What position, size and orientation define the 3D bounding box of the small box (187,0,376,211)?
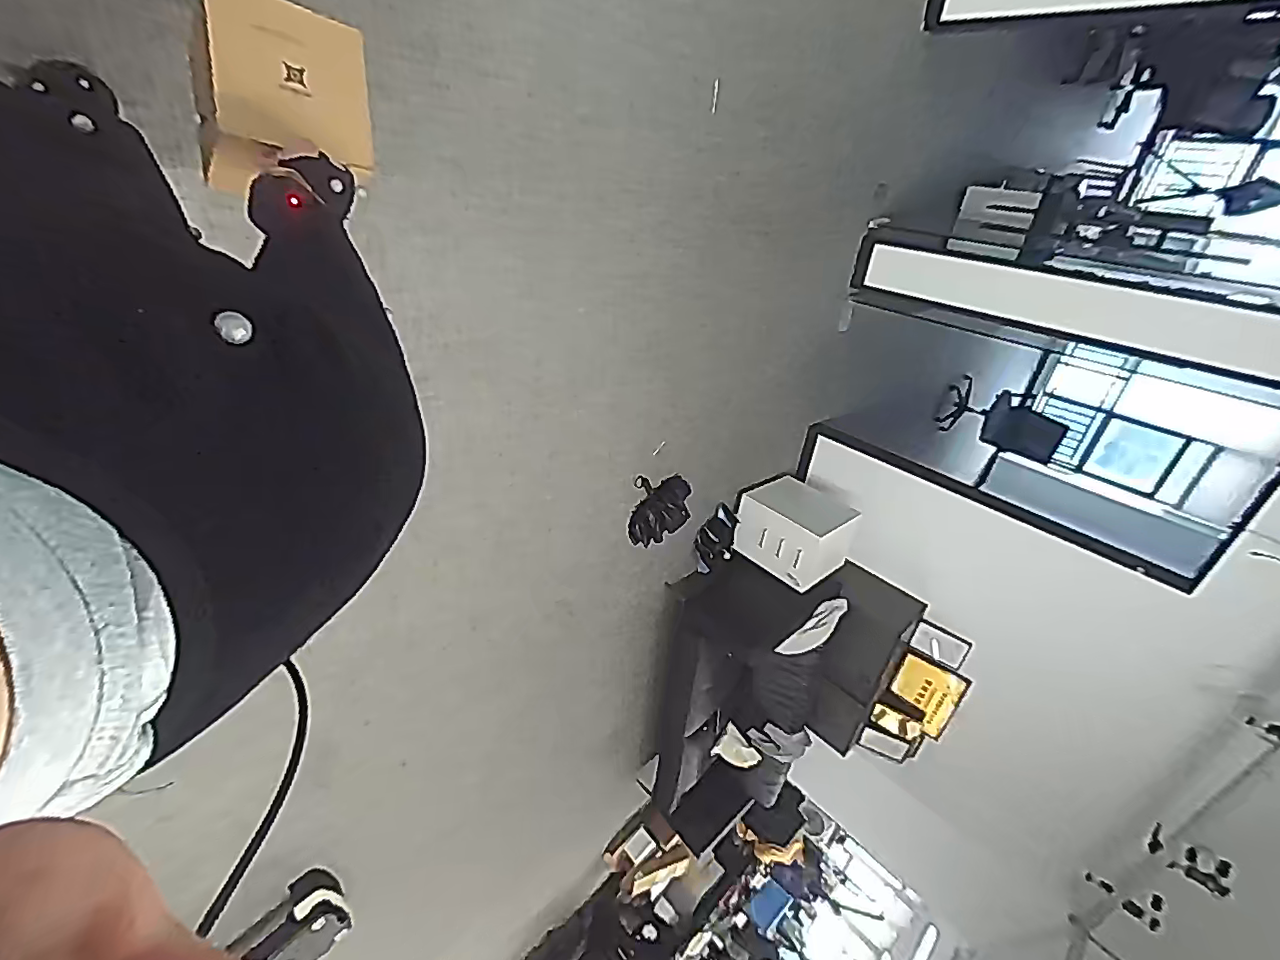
[{"bbox_3d":[-0.459,-0.472,0.692,0.168,0.176,0.179,-9,96,-44],"label":"small box"}]
